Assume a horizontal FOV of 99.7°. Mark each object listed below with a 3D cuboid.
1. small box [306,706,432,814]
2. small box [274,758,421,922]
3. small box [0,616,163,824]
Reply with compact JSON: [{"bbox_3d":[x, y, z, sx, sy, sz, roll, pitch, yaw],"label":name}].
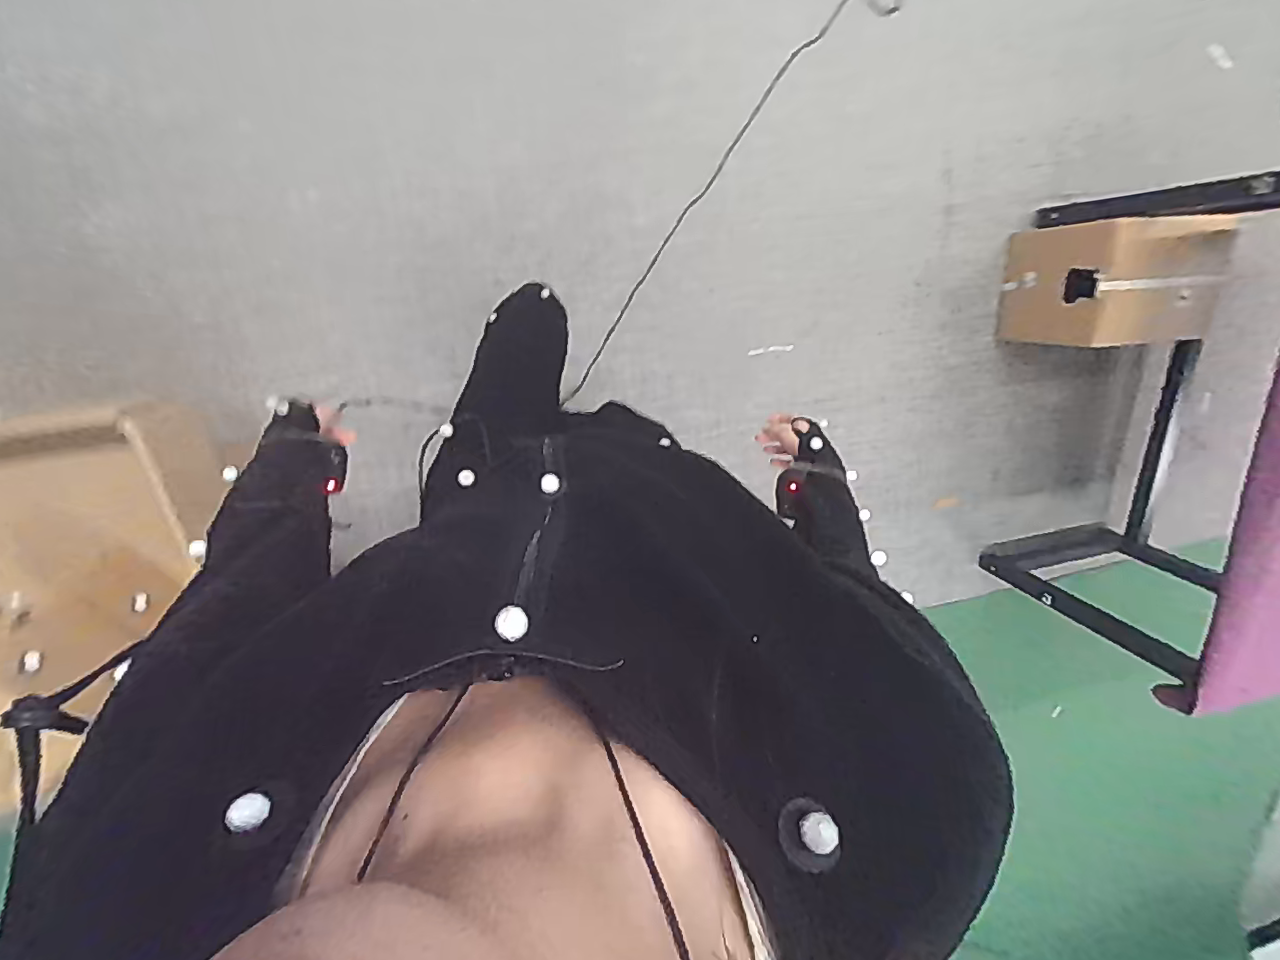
[{"bbox_3d":[-0.587,0.649,1.201,0.179,0.176,0.168,-45,112,2],"label":"small box"},{"bbox_3d":[-0.550,0.690,1.048,0.168,0.176,0.179,41,94,-22],"label":"small box"},{"bbox_3d":[-0.837,0.314,0.744,0.168,0.176,0.179,-37,113,1],"label":"small box"}]
